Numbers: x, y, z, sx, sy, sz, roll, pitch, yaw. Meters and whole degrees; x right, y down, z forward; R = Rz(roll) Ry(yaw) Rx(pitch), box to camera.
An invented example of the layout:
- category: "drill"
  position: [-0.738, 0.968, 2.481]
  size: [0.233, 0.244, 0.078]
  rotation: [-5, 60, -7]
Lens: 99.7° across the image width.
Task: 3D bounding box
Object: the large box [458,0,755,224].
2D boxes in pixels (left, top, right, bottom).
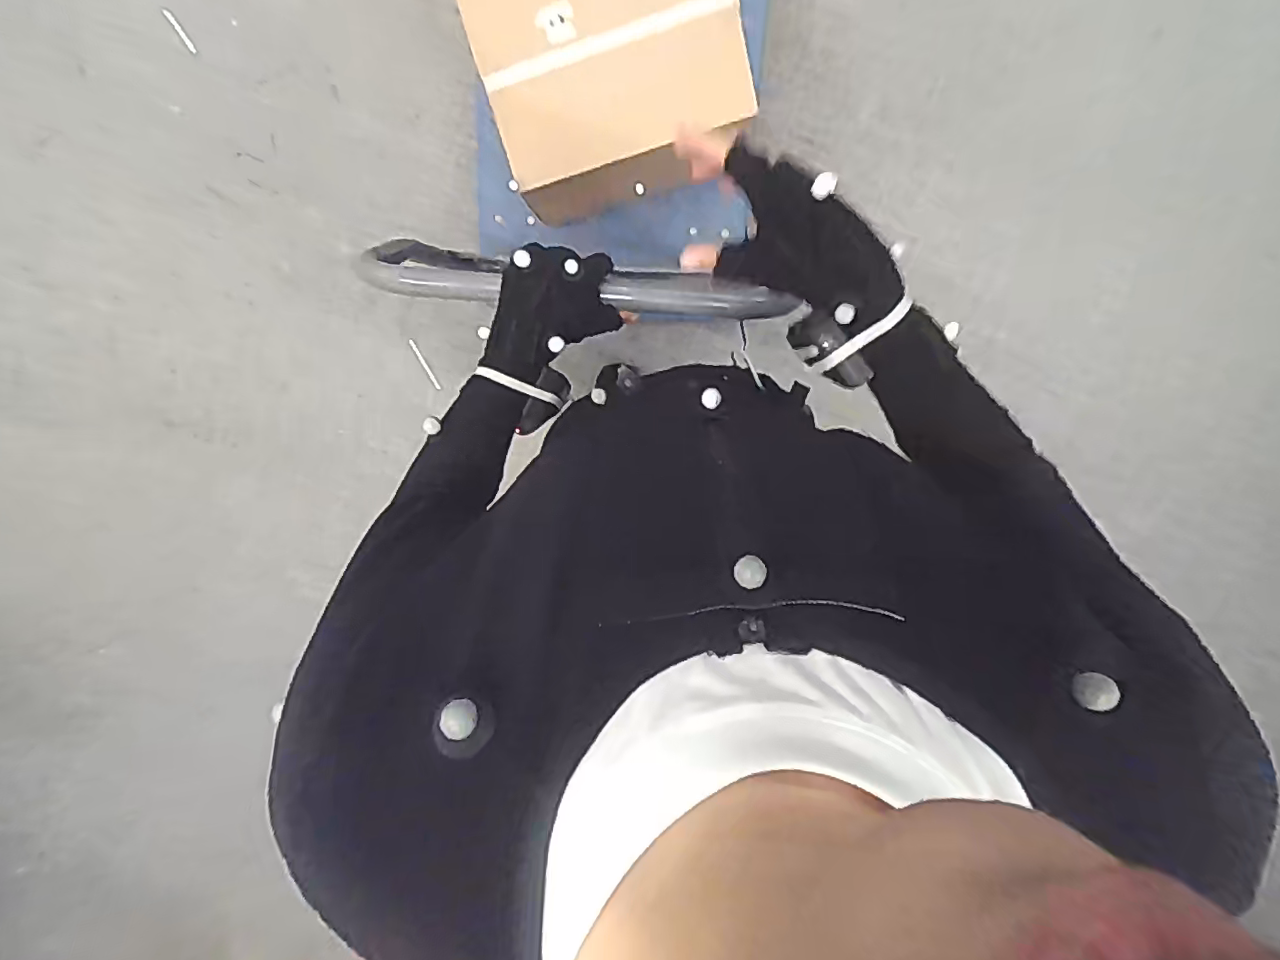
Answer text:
- category: "large box"
  position: [-0.046, -0.709, 0.980]
  size: [0.408, 0.320, 0.320]
  rotation: [-16, 103, 5]
